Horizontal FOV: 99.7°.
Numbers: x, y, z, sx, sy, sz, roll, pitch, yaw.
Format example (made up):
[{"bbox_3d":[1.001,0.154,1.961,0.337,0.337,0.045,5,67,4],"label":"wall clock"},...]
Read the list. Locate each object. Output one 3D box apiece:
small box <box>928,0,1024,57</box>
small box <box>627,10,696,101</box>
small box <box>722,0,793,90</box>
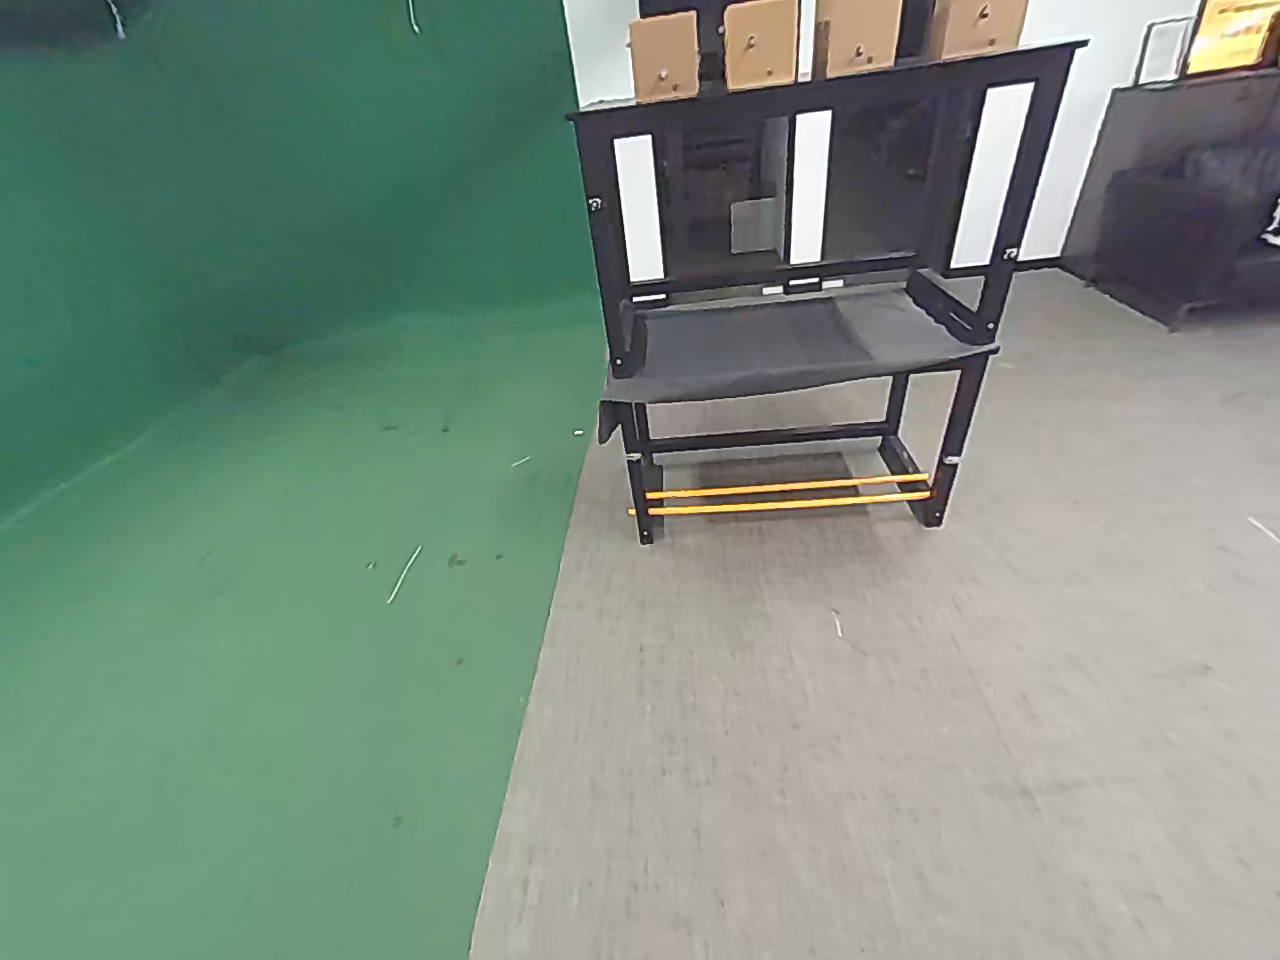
[{"bbox_3d":[0.807,-1.135,1.296,0.168,0.176,0.179,2,37,14],"label":"small box"},{"bbox_3d":[0.056,-1.110,1.425,0.168,0.176,0.179,-7,37,3],"label":"small box"},{"bbox_3d":[0.298,-1.114,1.382,0.168,0.176,0.179,-3,36,8],"label":"small box"}]
